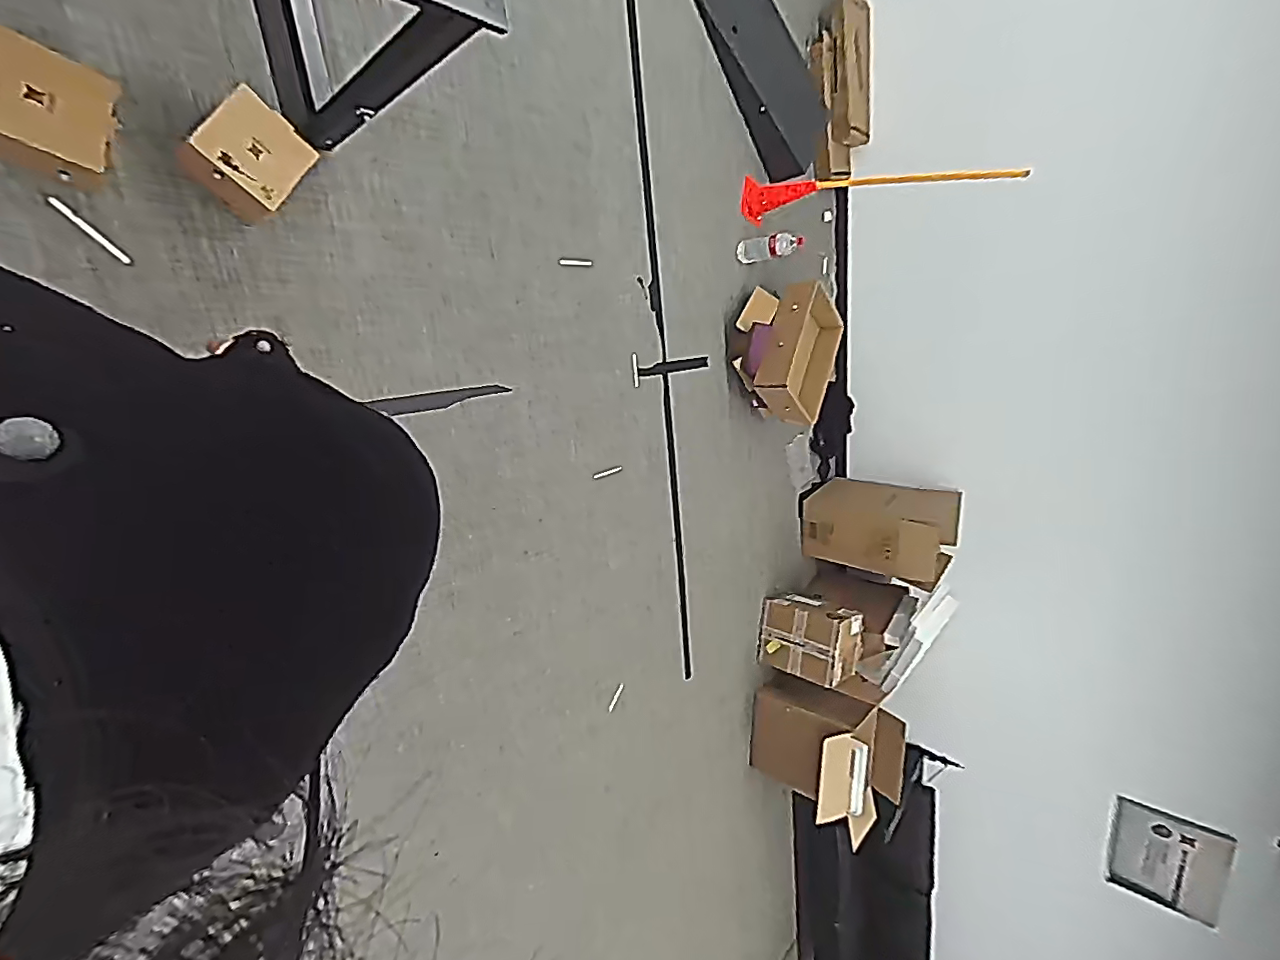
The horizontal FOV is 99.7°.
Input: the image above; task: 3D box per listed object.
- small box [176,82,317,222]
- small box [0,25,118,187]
[{"bbox_3d":[-0.839,-0.688,1.151,0.168,0.176,0.179,42,65,-44],"label":"small box"},{"bbox_3d":[-1.042,-0.634,0.931,0.179,0.176,0.168,10,88,-48],"label":"small box"}]
